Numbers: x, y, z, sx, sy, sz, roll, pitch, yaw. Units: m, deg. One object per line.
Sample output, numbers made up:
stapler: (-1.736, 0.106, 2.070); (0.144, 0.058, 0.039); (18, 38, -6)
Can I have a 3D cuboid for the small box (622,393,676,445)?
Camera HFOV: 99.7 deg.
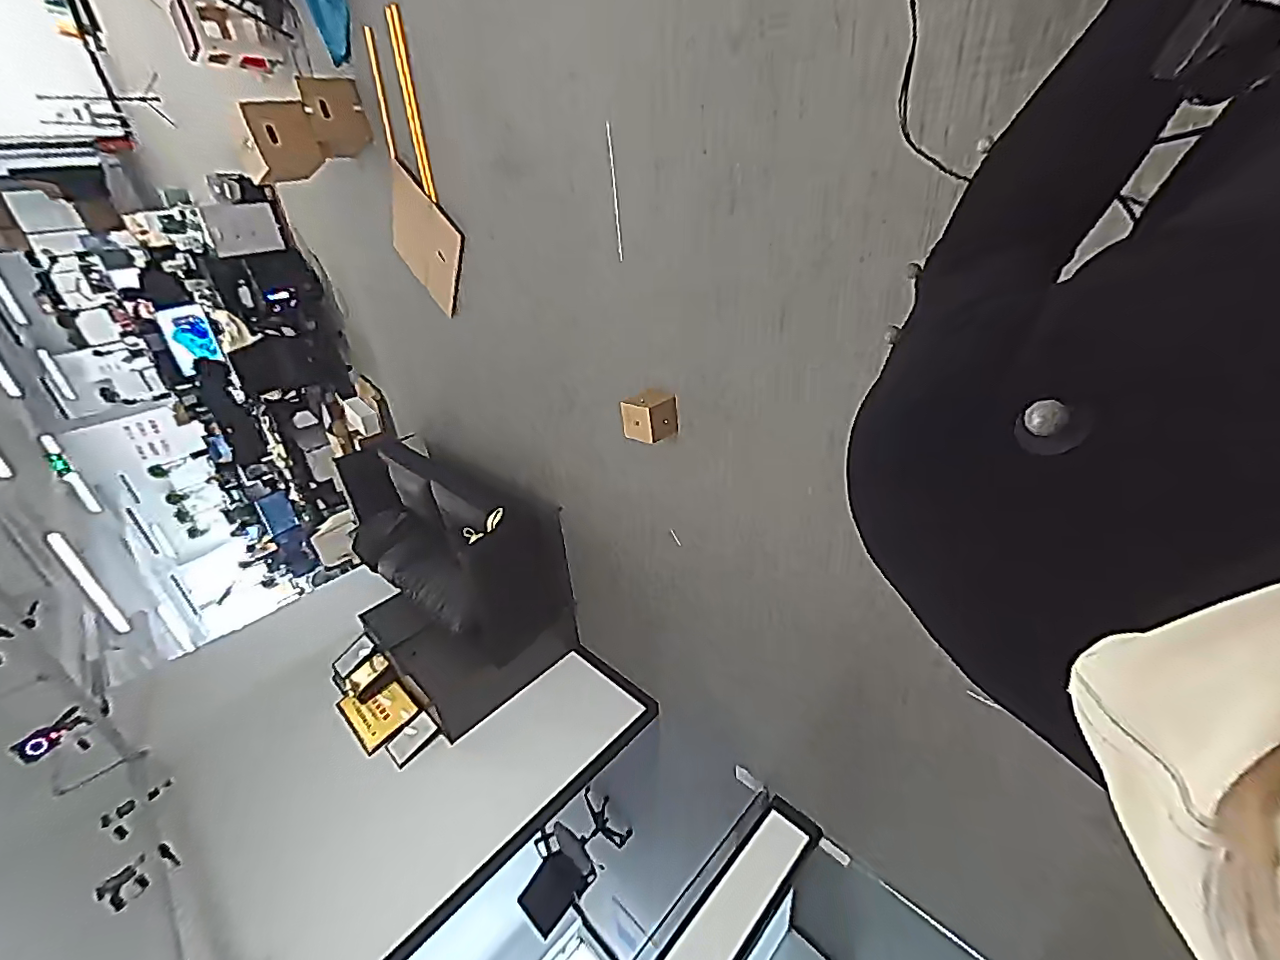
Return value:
small box: (0.046, -0.272, 2.370); (0.179, 0.176, 0.168); (19, 127, 42)
